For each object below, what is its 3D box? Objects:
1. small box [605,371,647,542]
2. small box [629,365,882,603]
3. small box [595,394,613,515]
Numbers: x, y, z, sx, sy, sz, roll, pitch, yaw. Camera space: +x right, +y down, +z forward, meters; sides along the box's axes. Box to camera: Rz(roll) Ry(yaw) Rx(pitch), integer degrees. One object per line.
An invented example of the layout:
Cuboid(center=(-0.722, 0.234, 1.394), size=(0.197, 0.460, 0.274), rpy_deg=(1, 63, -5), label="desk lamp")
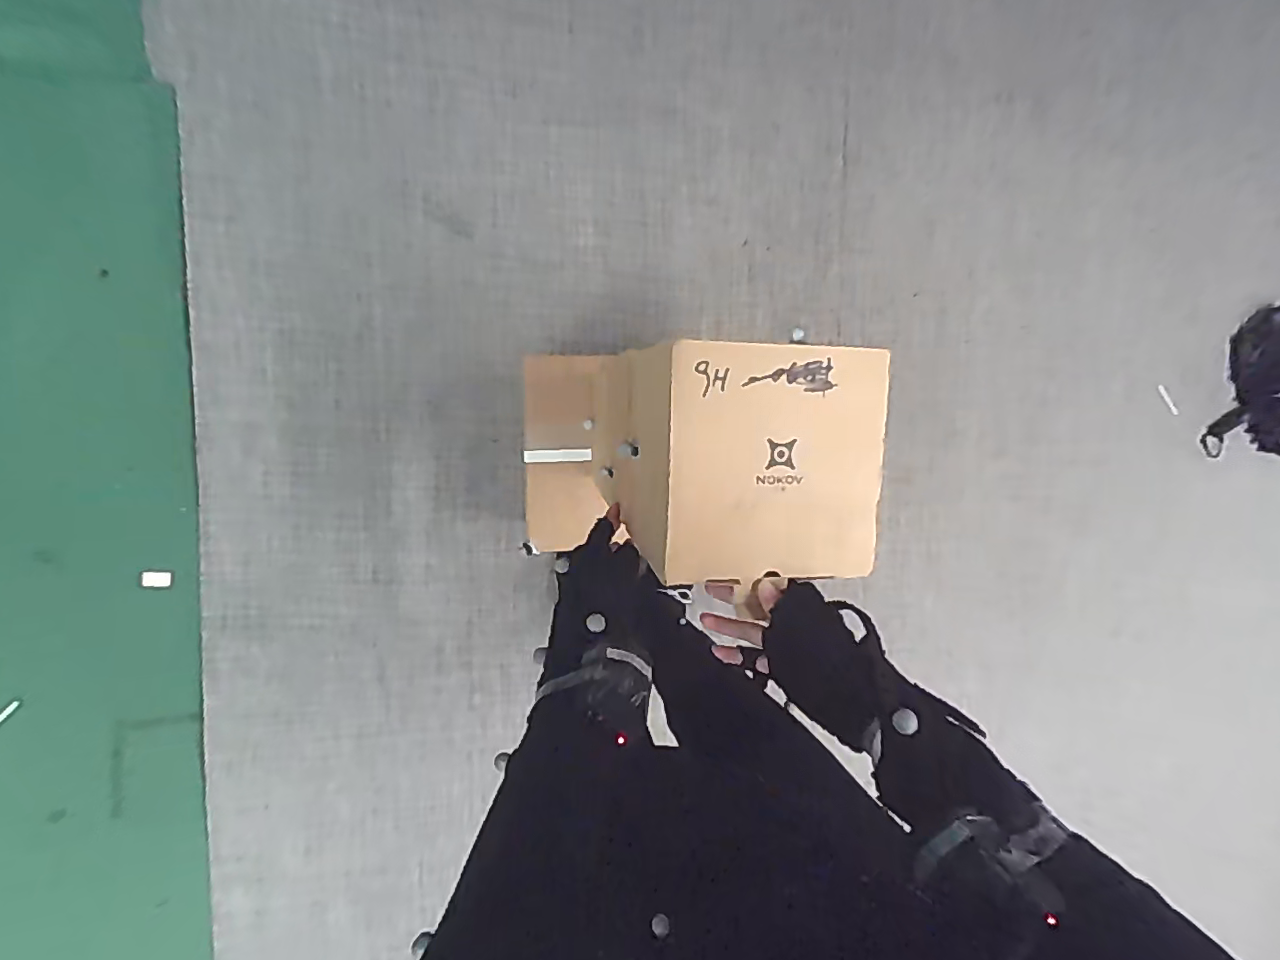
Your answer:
Cuboid(center=(0.051, -0.032, 0.635), size=(0.168, 0.176, 0.179), rpy_deg=(0, 97, -10), label="small box")
Cuboid(center=(0.084, -0.007, 0.477), size=(0.168, 0.176, 0.179), rpy_deg=(-1, 99, -10), label="small box")
Cuboid(center=(0.031, -0.046, 0.795), size=(0.179, 0.176, 0.168), rpy_deg=(-3, 99, -10), label="small box")
